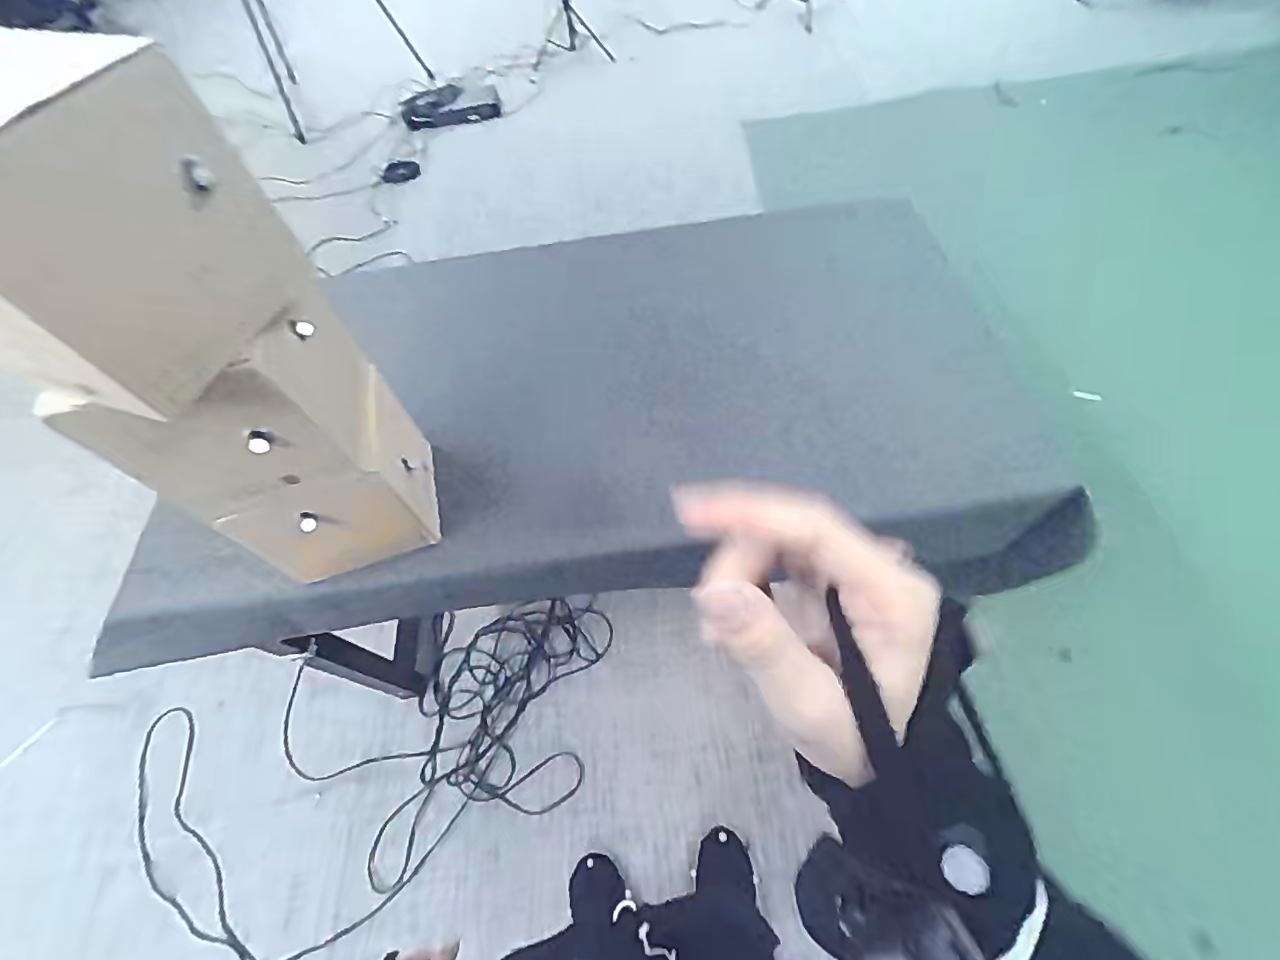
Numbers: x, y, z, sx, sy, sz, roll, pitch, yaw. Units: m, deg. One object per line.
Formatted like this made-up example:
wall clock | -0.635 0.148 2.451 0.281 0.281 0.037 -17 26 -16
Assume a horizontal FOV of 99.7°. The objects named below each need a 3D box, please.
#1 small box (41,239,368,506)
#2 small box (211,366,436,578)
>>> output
small box | -0.384 -0.092 0.521 0.168 0.176 0.179 -15 56 -4
small box | -0.362 -0.003 0.656 0.179 0.176 0.168 -17 57 -4
